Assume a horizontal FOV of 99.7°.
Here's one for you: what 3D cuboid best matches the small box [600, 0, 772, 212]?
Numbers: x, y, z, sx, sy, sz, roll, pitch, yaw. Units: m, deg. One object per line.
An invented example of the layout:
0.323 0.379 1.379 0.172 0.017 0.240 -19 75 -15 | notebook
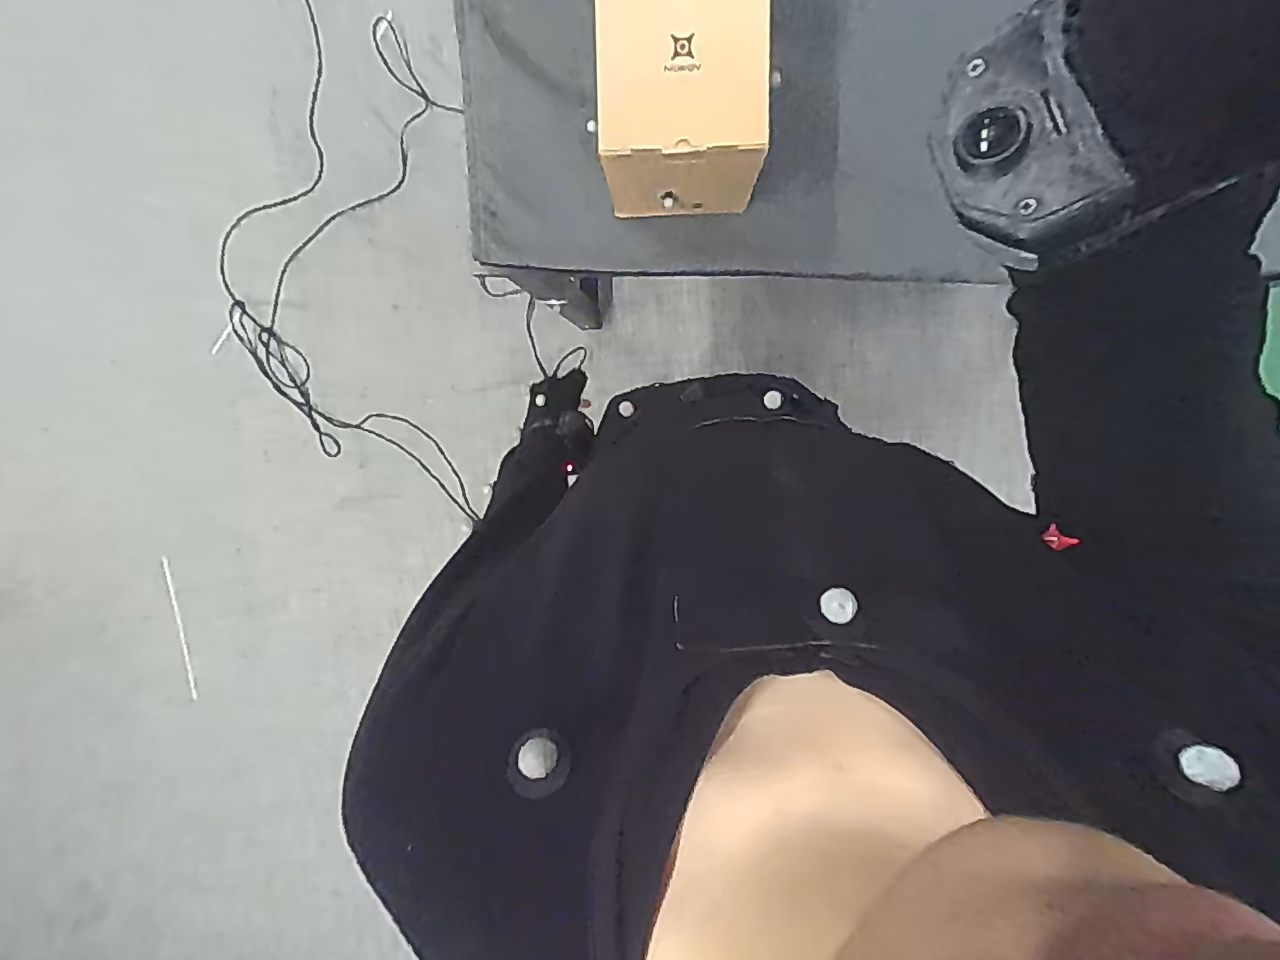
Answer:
0.046 -0.419 0.594 0.168 0.176 0.179 -1 97 3 | small box
